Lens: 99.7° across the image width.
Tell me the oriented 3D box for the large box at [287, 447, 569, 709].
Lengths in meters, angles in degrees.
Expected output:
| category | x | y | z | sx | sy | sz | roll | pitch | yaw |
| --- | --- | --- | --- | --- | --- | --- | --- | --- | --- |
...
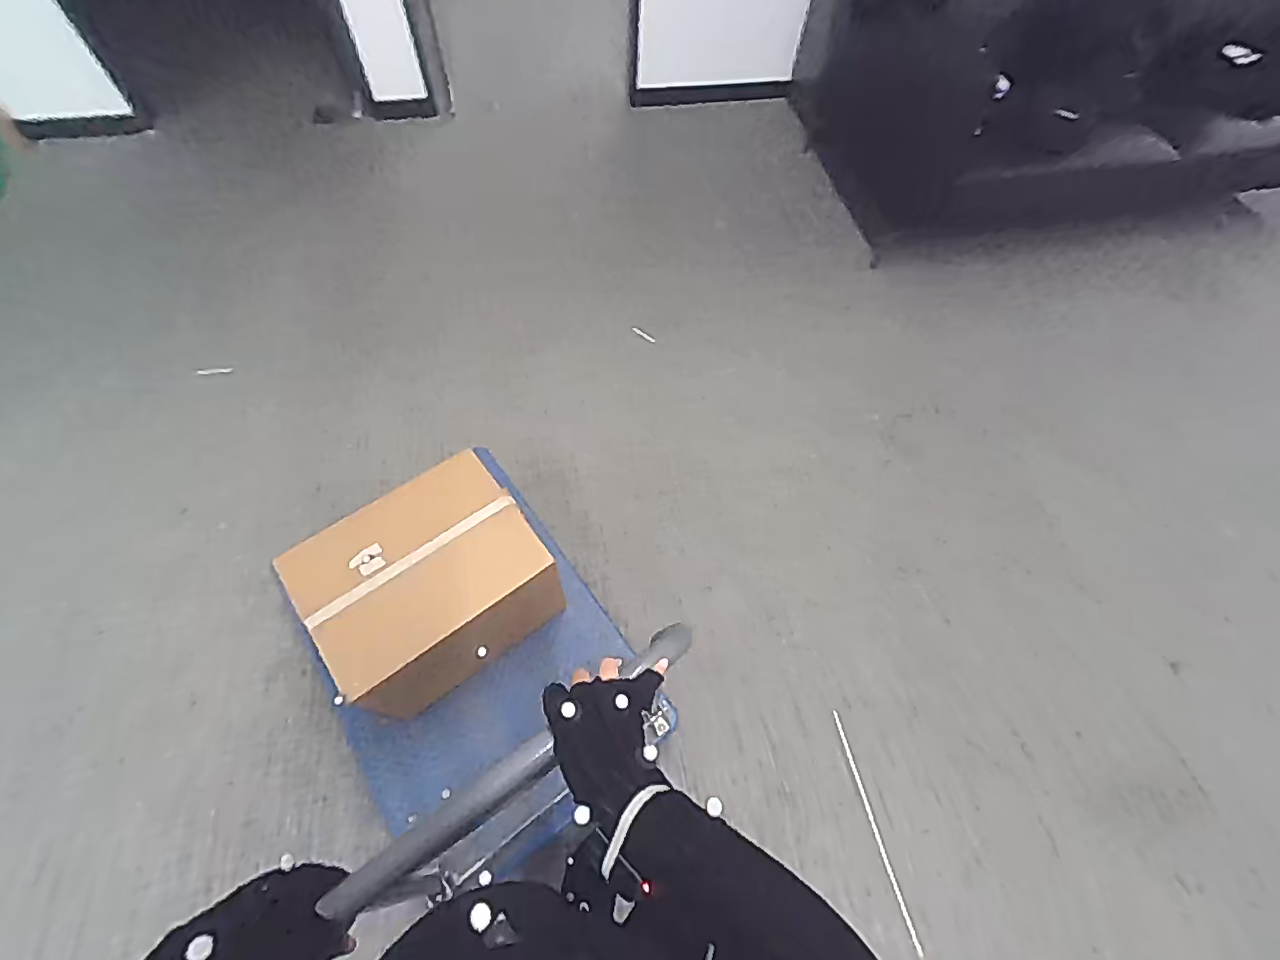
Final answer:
| category | x | y | z | sx | sy | sz | roll | pitch | yaw |
| --- | --- | --- | --- | --- | --- | --- | --- | --- | --- |
| large box | -0.404 | 0.210 | 1.128 | 0.408 | 0.320 | 0.320 | -35 | 69 | -19 |
